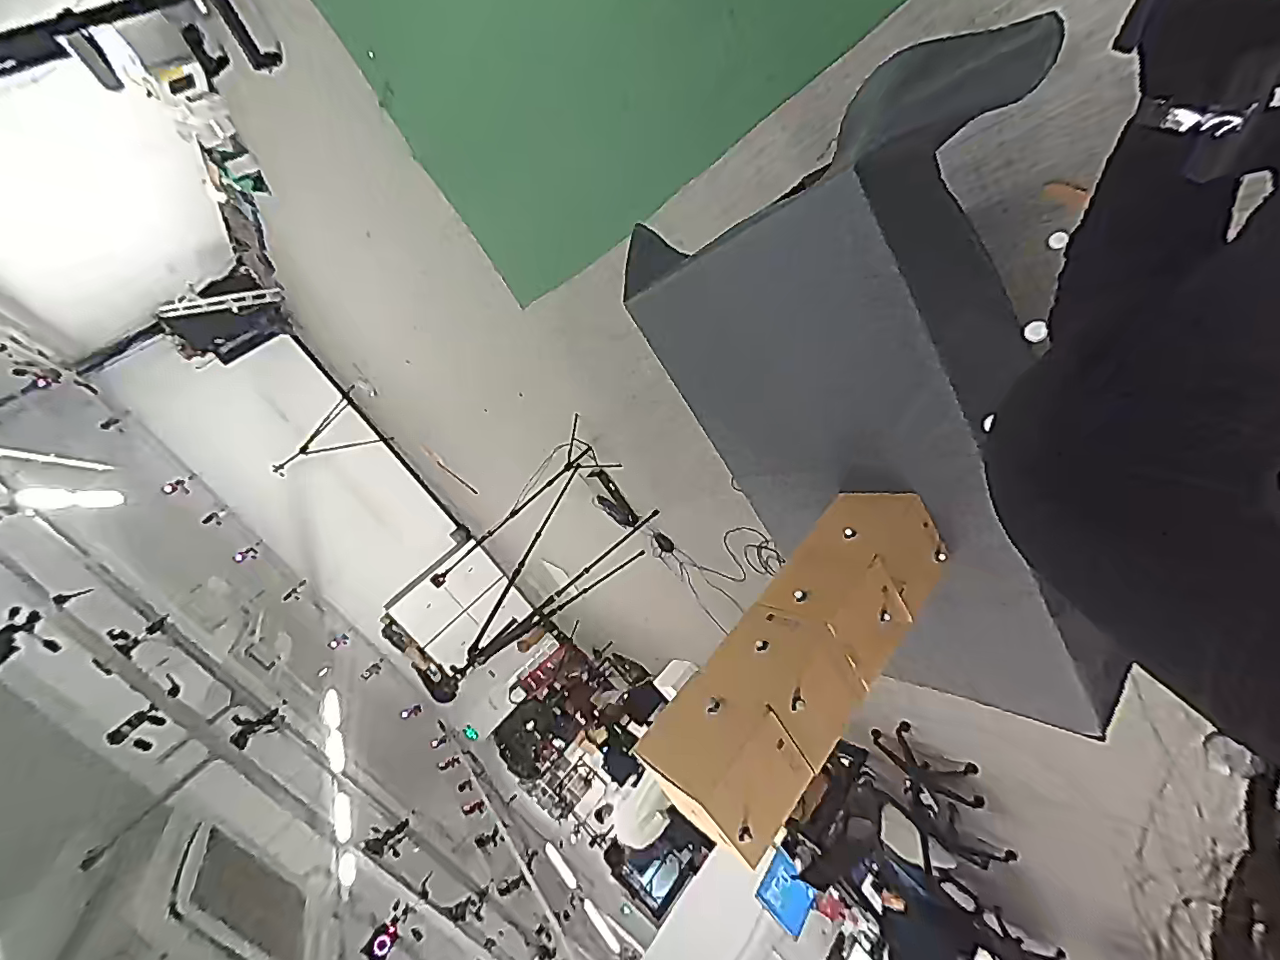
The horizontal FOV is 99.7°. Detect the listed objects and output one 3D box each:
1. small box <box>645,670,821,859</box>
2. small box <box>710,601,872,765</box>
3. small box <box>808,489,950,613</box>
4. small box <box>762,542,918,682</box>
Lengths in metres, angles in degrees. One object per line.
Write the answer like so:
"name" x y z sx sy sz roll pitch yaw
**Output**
"small box" 0.147 0.431 0.852 0.179 0.176 0.168 1 130 58
"small box" 0.258 0.332 0.921 0.179 0.176 0.168 56 154 -19
"small box" 0.474 0.129 1.059 0.168 0.176 0.179 55 155 -17
"small box" 0.367 0.230 0.992 0.168 0.176 0.179 55 154 -18
